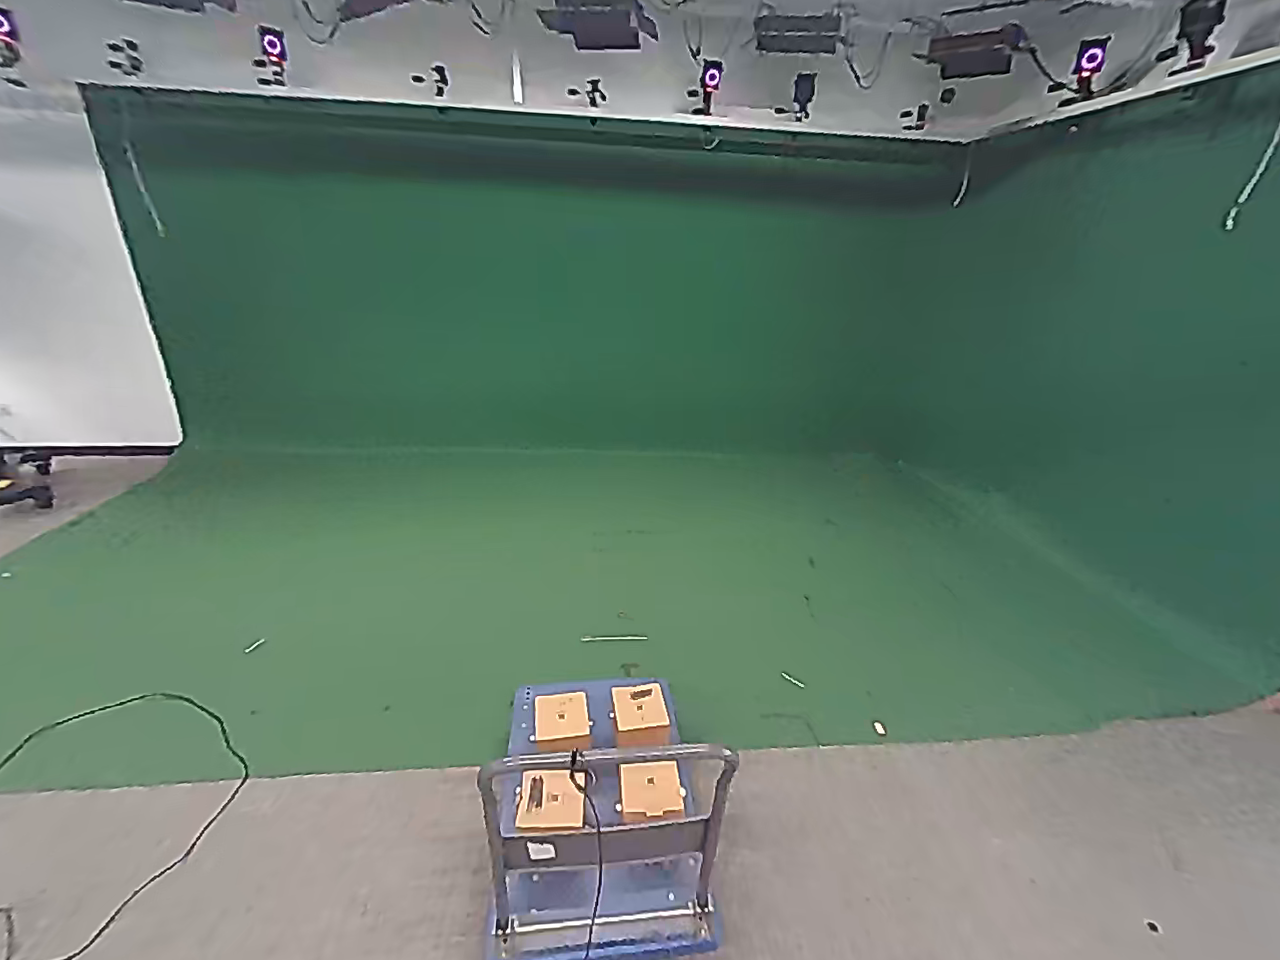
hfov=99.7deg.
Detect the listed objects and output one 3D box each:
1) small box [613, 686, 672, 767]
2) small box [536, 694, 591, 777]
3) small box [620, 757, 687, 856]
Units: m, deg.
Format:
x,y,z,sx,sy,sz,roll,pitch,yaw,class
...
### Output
x,y,z,sx,sy,sz,roll,pitch,yaw,class
0.003,0.807,1.769,0.168,0.176,0.179,-3,25,-9,small box
-0.244,0.818,1.724,0.168,0.176,0.179,-2,24,-10,small box
0.032,0.916,1.524,0.168,0.176,0.179,0,25,-6,small box
